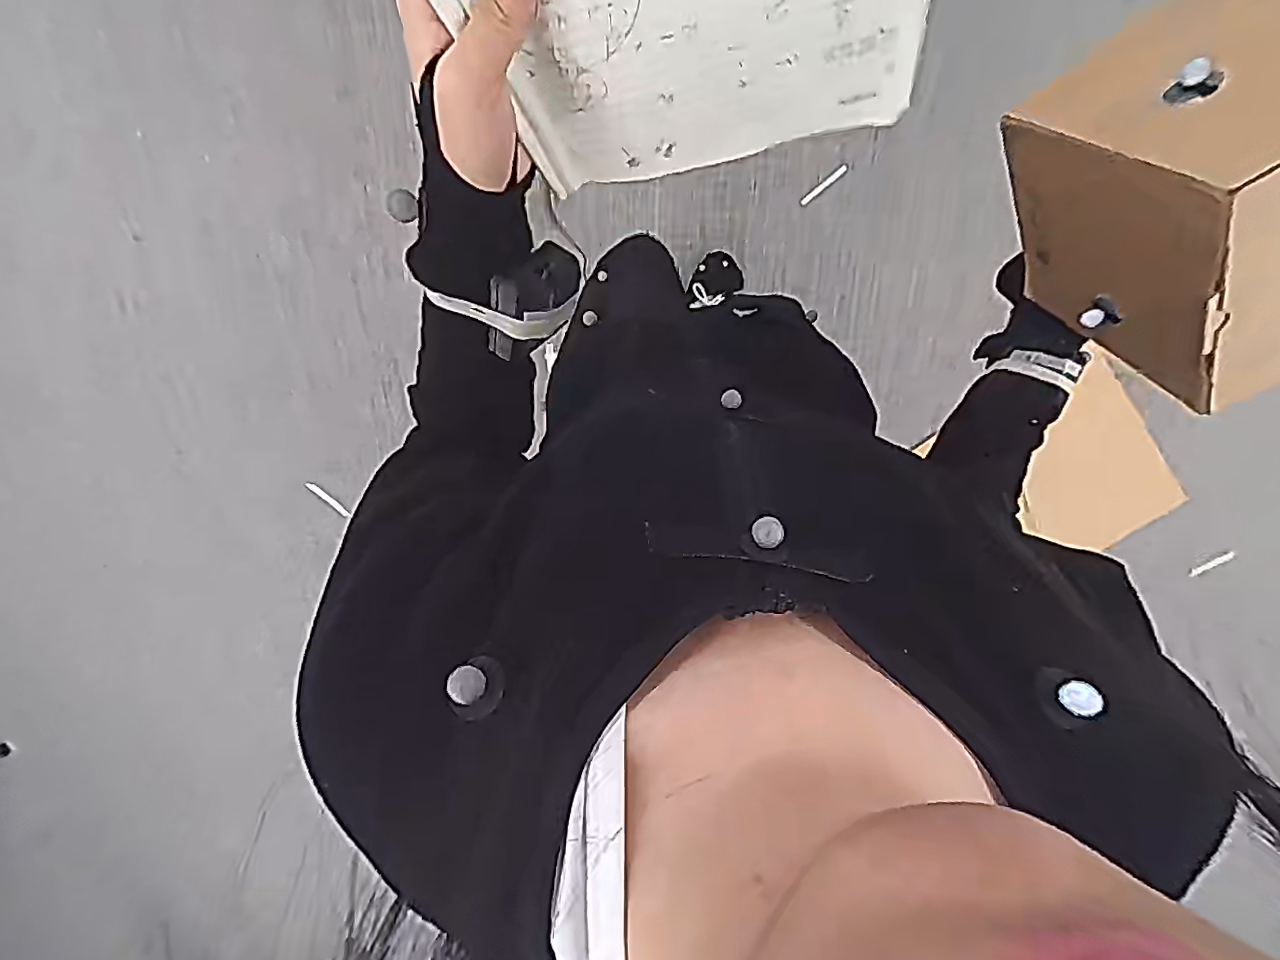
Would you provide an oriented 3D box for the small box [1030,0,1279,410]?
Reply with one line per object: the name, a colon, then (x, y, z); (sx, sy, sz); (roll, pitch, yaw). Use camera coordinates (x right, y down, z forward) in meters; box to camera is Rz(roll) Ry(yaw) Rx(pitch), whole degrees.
small box: (0.362, -0.181, 0.311); (0.179, 0.176, 0.168); (-33, 131, 19)
